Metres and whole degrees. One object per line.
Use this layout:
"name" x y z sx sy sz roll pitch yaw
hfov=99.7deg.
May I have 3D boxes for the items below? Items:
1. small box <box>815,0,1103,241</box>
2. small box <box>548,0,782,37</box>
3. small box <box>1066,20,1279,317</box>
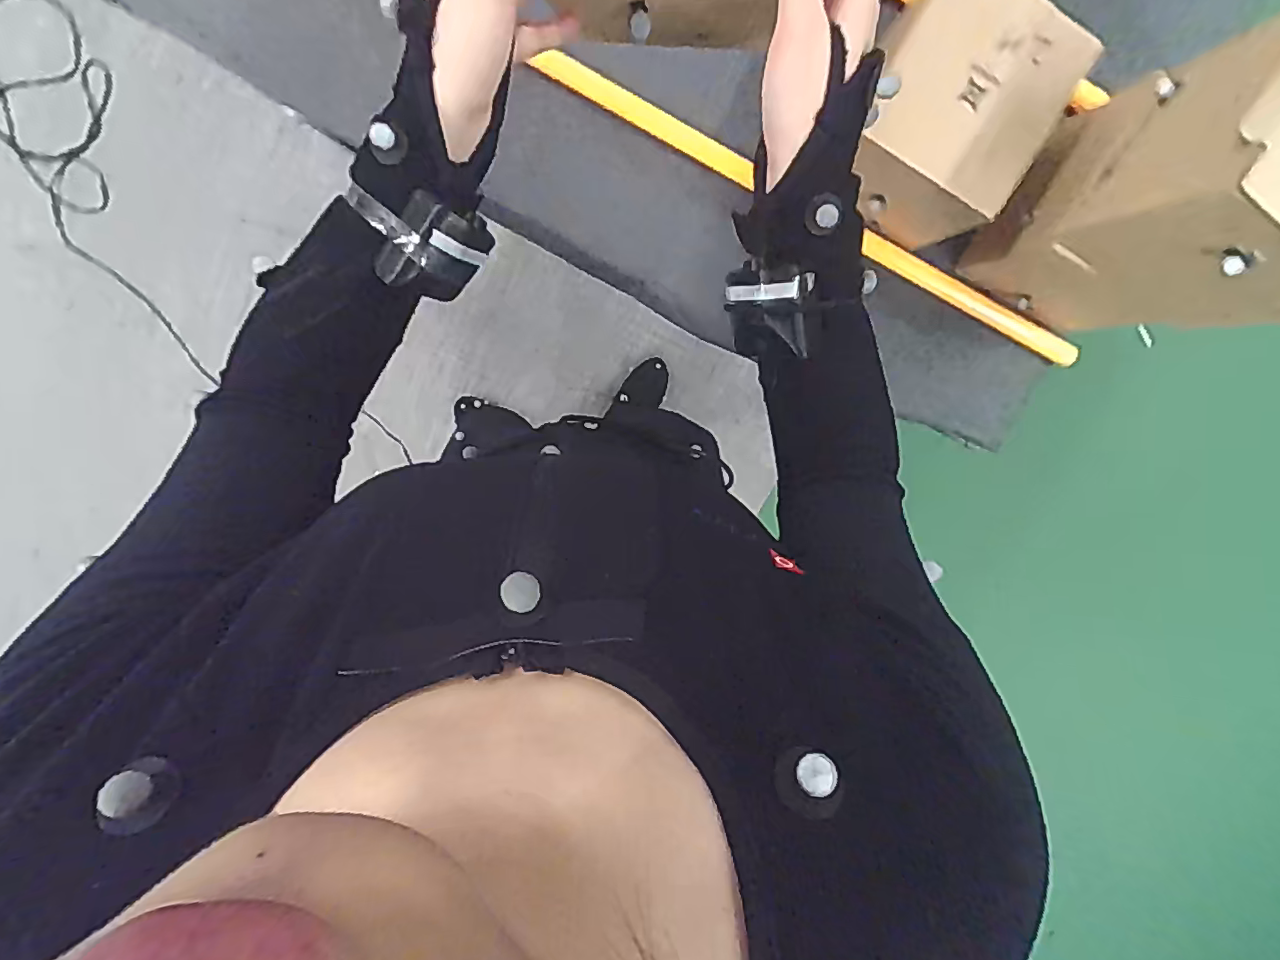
"small box" 0.311 -0.385 0.577 0.168 0.176 0.179 28 101 -8
"small box" 0.017 -0.383 0.310 0.168 0.176 0.179 3 117 2
"small box" 0.519 -0.248 0.445 0.179 0.176 0.168 30 101 -8
